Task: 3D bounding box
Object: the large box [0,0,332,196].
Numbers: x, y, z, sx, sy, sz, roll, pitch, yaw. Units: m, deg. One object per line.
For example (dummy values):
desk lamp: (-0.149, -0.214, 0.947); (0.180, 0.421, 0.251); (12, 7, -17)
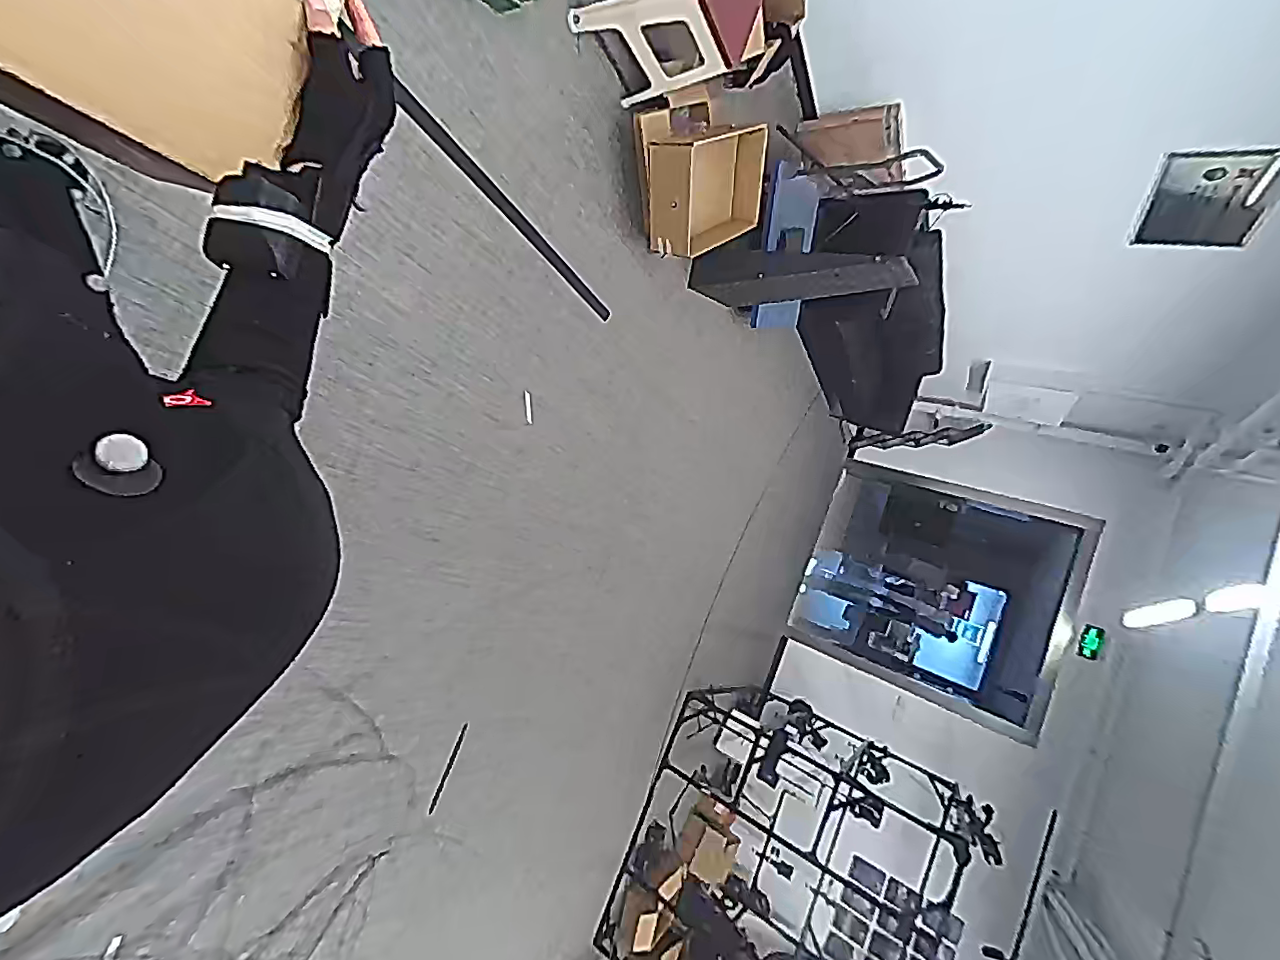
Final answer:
large box: (-0.465, -0.449, 0.337); (0.408, 0.320, 0.320); (17, 98, -59)
